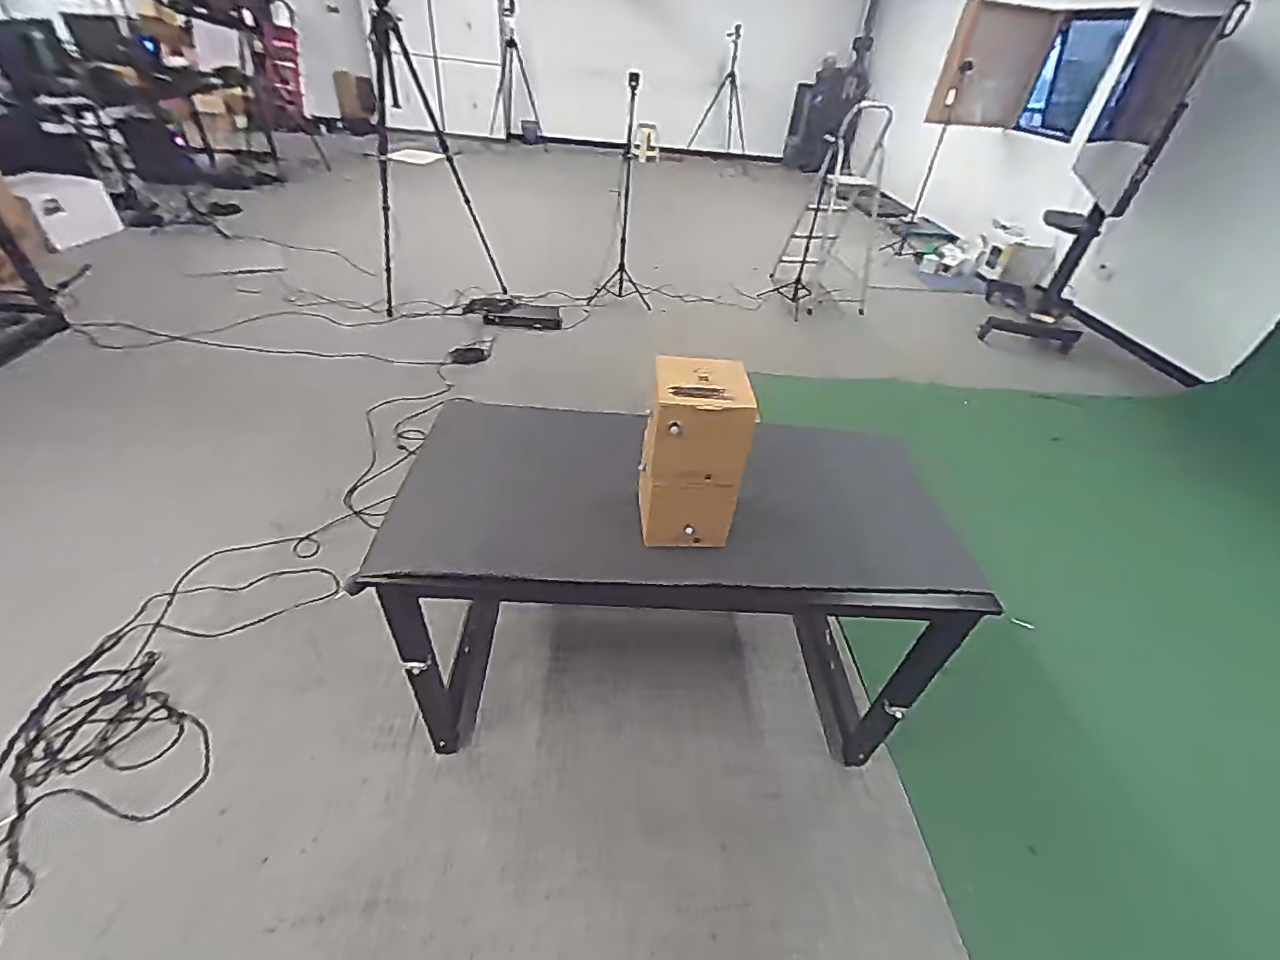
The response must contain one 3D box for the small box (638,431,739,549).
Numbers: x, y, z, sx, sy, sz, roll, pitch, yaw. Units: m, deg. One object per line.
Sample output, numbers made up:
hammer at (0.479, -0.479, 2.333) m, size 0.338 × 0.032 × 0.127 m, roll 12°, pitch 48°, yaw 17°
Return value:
small box at (0.088, 0.020, 1.098) m, size 0.168 × 0.176 × 0.179 m, roll 1°, pitch 38°, yaw -6°
